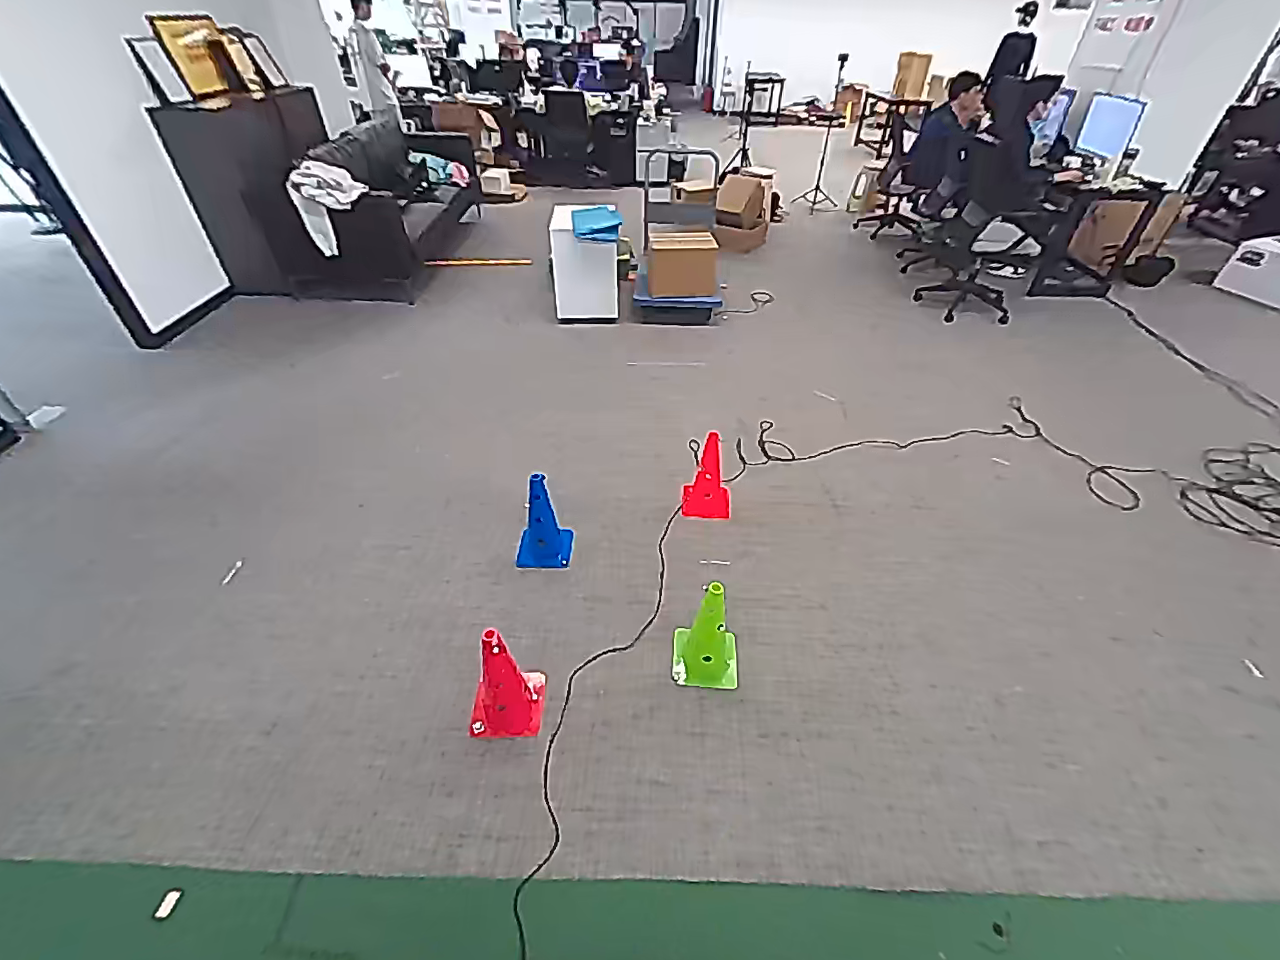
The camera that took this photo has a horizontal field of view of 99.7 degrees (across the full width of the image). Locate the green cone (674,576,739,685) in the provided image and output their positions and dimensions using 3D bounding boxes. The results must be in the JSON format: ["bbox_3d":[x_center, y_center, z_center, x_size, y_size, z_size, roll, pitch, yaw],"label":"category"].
[{"bbox_3d":[0.212,0.423,1.605,0.200,0.368,0.202,3,39,2],"label":"green cone"}]

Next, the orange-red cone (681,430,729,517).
[{"bbox_3d":[0.274,-0.047,2.163,0.198,0.360,0.199,4,42,5],"label":"orange-red cone"}]
